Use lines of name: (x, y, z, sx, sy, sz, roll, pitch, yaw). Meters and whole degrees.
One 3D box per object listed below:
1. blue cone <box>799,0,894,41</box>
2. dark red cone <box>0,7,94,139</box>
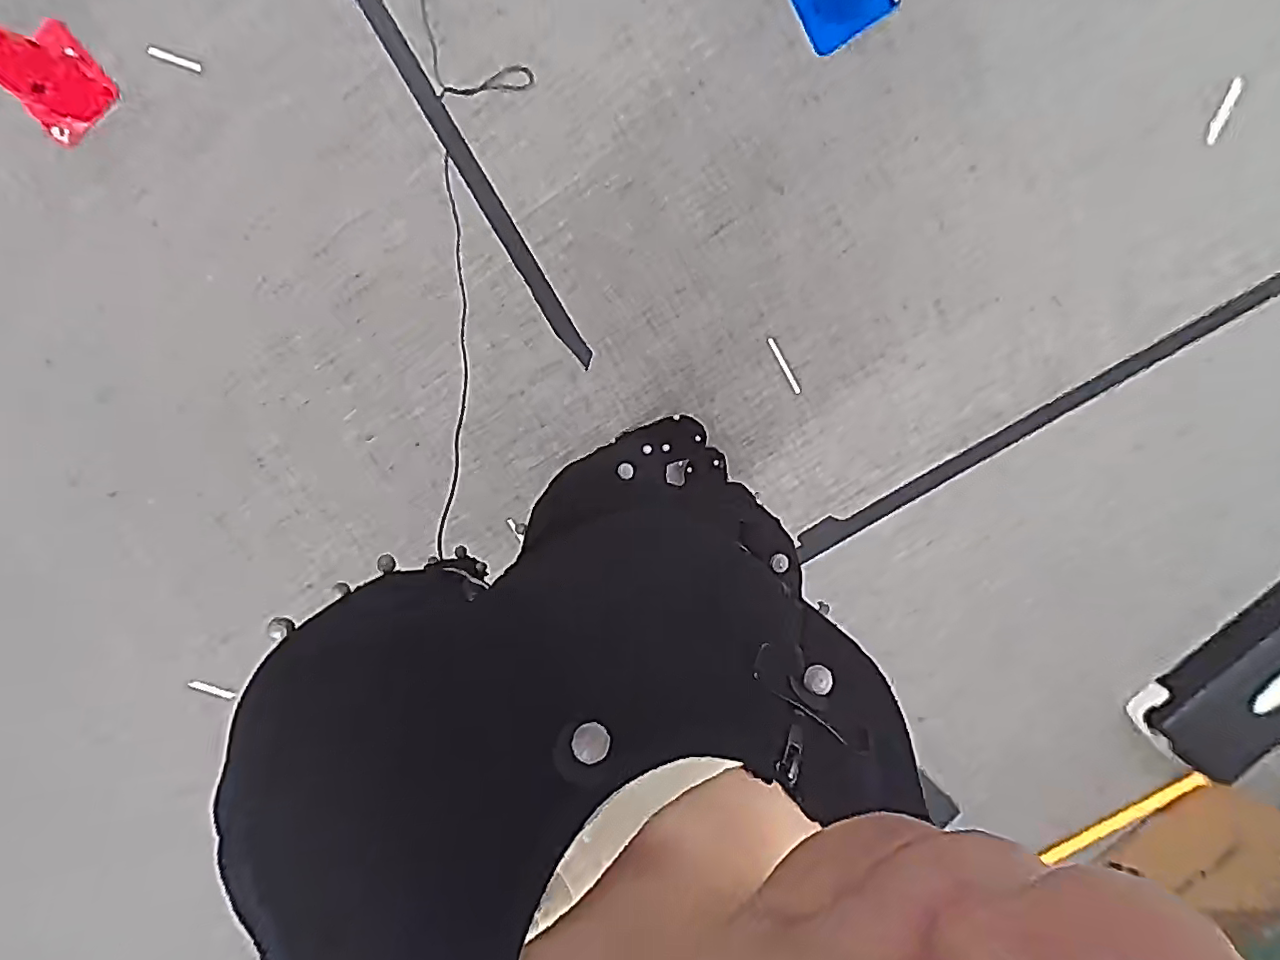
blue cone: (0.427, -1.026, 0.985, 0.192, 0.380, 0.193, -30, 99, 6)
dark red cone: (-1.324, -0.856, 1.025, 0.201, 0.394, 0.202, -38, 98, 7)
